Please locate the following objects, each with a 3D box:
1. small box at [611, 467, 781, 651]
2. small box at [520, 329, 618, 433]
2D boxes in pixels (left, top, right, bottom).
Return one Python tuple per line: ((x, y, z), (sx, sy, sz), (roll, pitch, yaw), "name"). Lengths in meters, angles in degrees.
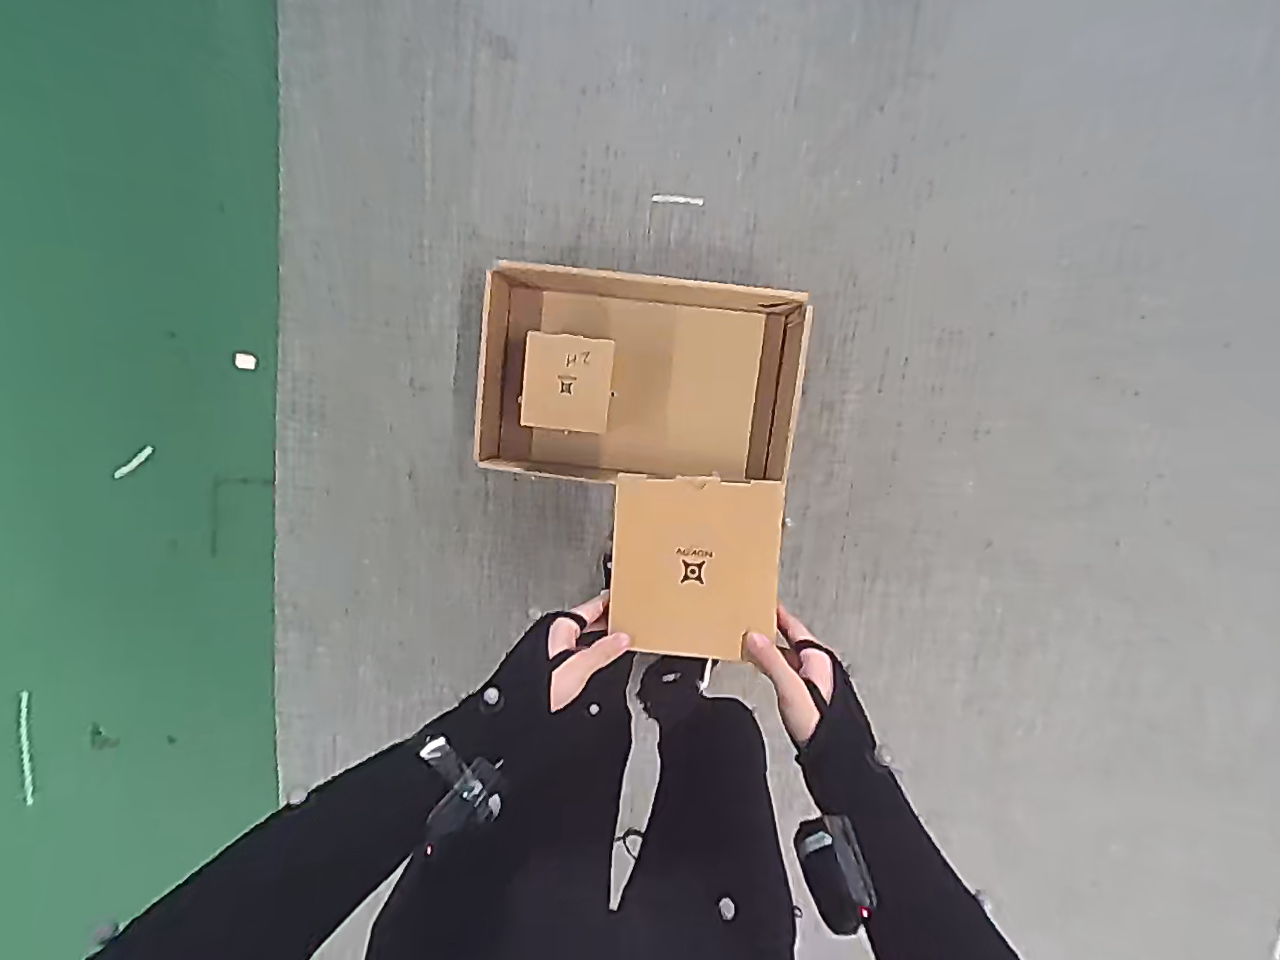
((0.068, 0.080, 0.626), (0.168, 0.176, 0.179), (3, 88, 9), "small box")
((-0.136, -0.196, 1.093), (0.168, 0.176, 0.179), (7, 98, -1), "small box")
